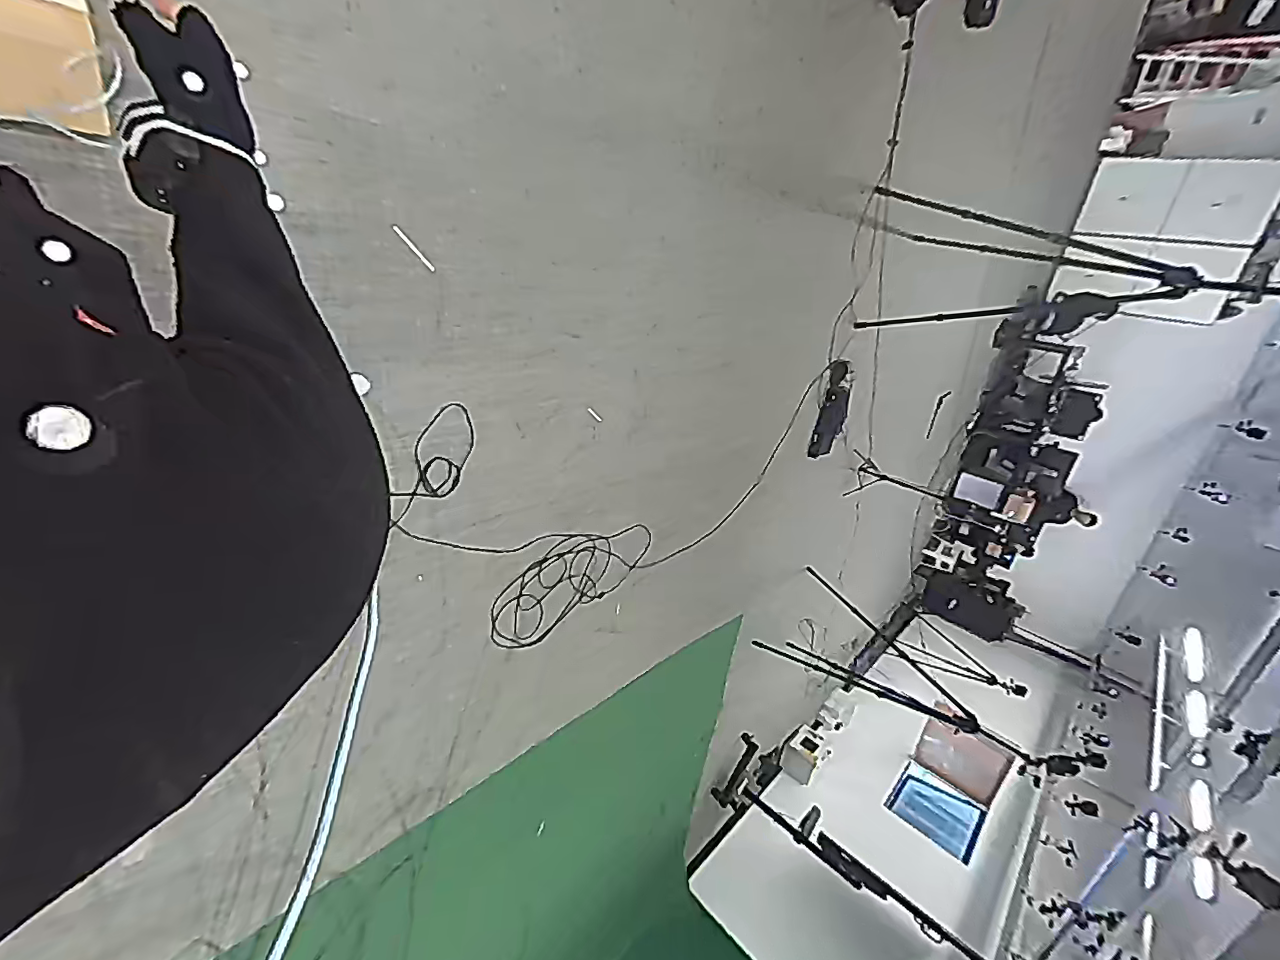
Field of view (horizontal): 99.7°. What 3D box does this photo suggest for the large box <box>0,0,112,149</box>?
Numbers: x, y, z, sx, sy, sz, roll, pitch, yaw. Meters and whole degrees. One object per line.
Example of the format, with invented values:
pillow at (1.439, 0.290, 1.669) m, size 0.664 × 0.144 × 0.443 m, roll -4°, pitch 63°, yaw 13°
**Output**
large box at (-0.996, -0.644, 0.685) m, size 0.408 × 0.320 × 0.320 m, roll -15°, pitch 121°, yaw -45°
